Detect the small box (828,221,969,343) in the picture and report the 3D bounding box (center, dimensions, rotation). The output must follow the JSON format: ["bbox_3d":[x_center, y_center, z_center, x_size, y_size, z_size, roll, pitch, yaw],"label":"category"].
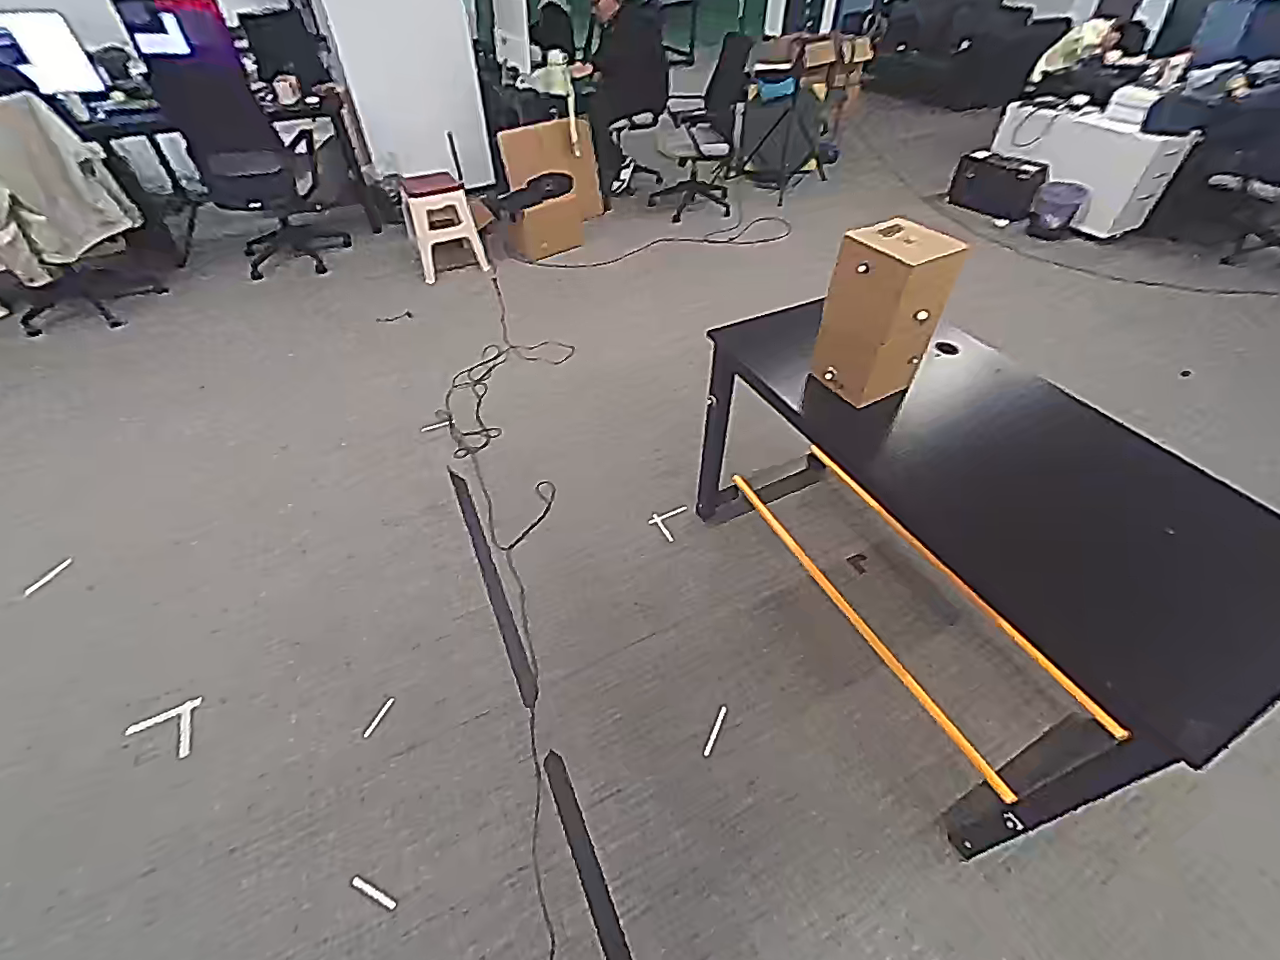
[{"bbox_3d":[0.518,-0.407,1.113,0.168,0.176,0.179,-23,50,-21],"label":"small box"}]

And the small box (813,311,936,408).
[{"bbox_3d":[0.522,-0.292,1.231,0.179,0.176,0.168,-24,50,-20],"label":"small box"}]
